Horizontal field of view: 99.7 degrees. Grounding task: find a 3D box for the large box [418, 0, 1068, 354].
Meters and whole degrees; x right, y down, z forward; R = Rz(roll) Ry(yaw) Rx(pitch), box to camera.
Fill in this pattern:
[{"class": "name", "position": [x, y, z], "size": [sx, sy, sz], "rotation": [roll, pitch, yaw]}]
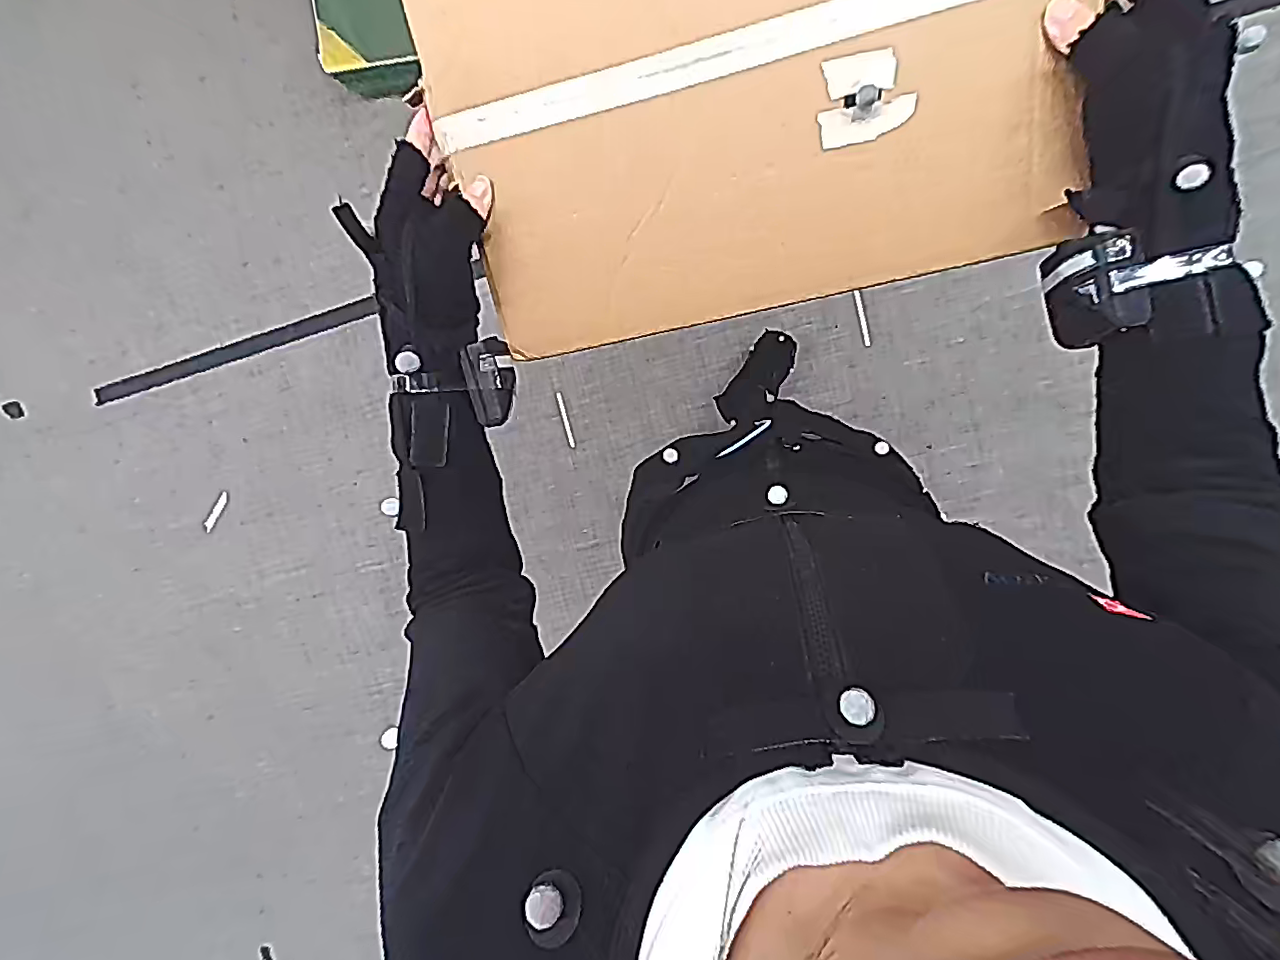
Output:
[{"class": "large box", "position": [0.074, -0.328, 0.492], "size": [0.408, 0.320, 0.320], "rotation": [-11, 110, 8]}]
